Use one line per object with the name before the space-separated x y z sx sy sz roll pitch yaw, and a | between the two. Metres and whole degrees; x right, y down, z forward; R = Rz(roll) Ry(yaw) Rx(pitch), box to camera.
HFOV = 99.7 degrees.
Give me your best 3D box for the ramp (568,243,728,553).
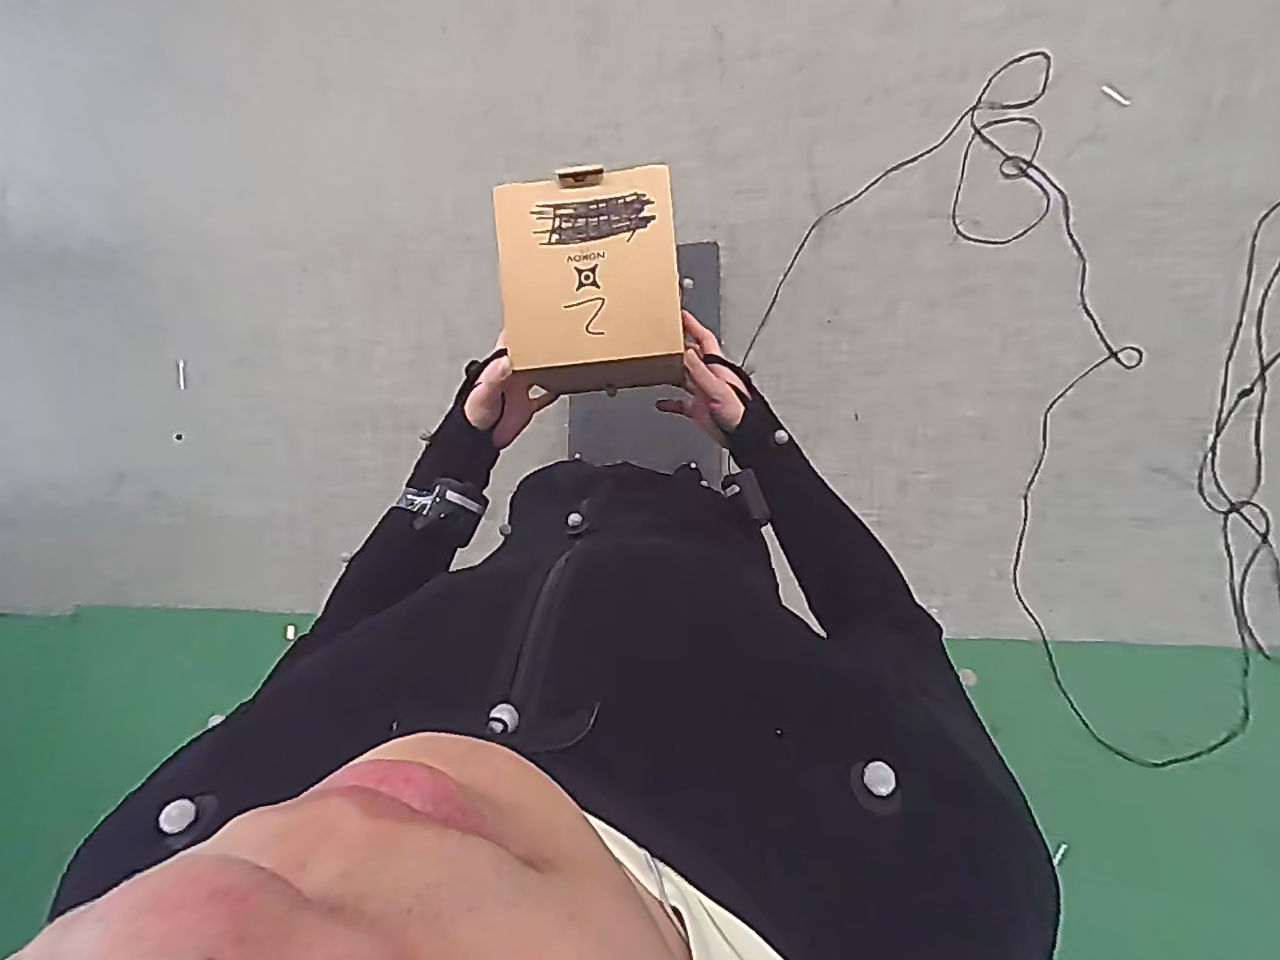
ramp | 0.020 -0.272 1.711 0.509 0.206 0.991 -2 91 8
